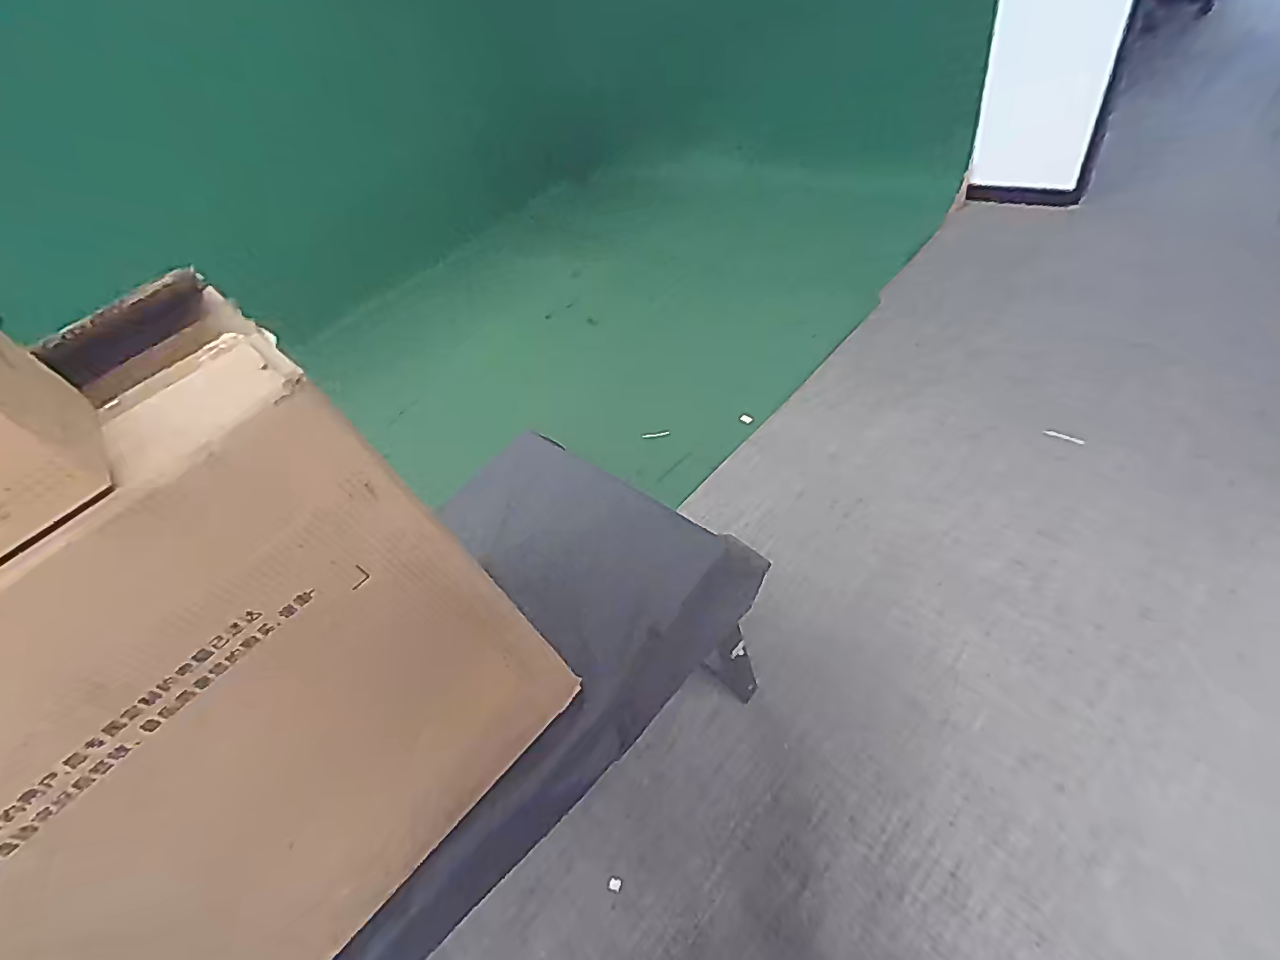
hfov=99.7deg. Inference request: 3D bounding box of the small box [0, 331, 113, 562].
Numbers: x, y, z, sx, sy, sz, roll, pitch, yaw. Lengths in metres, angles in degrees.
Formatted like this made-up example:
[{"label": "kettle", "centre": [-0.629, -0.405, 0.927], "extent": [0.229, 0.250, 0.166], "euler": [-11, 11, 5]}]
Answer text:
[{"label": "small box", "centre": [-0.487, -0.030, 0.333], "extent": [0.179, 0.176, 0.168], "euler": [31, 66, 36]}]
